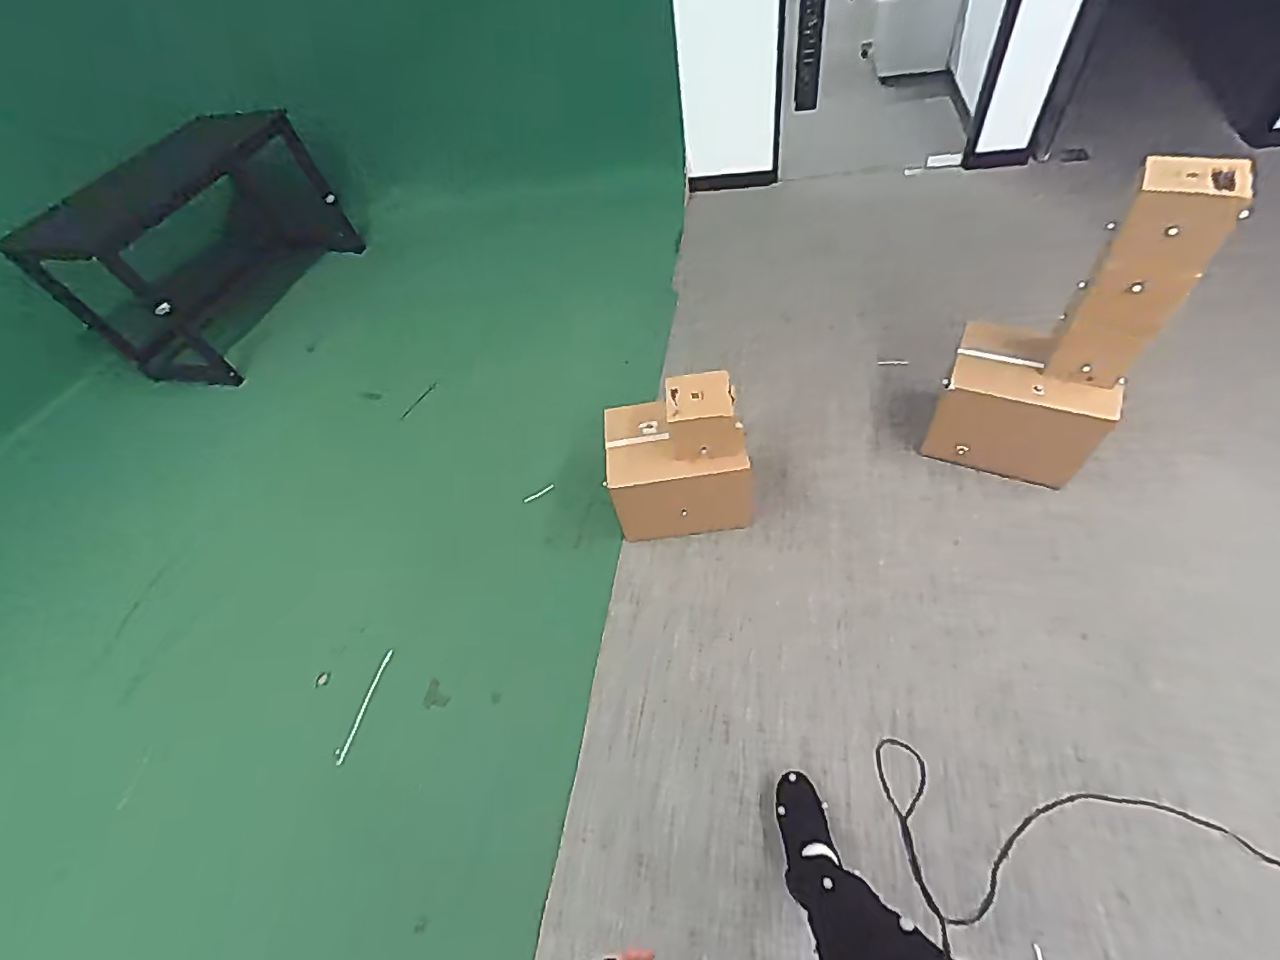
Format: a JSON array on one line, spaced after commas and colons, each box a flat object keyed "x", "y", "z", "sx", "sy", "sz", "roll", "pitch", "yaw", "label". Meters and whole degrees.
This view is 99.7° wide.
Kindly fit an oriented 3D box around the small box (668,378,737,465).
[{"x": 0.171, "y": -0.157, "z": 1.487, "sx": 0.179, "sy": 0.176, "sz": 0.168, "roll": -5, "pitch": 53, "yaw": 7, "label": "small box"}]

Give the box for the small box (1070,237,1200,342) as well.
[{"x": 1.194, "y": -0.457, "z": 1.310, "sx": 0.179, "sy": 0.176, "sz": 0.168, "roll": 20, "pitch": 58, "yaw": 25, "label": "small box"}]

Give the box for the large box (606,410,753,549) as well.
[{"x": 0.126, "y": -0.012, "z": 1.699, "sx": 0.408, "sy": 0.320, "sz": 0.320, "roll": -9, "pitch": 51, "yaw": 6, "label": "large box"}]

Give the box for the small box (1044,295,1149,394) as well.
[{"x": 1.210, "y": -0.360, "z": 1.439, "sx": 0.168, "sy": 0.176, "sz": 0.179, "roll": 19, "pitch": 57, "yaw": 24, "label": "small box"}]
